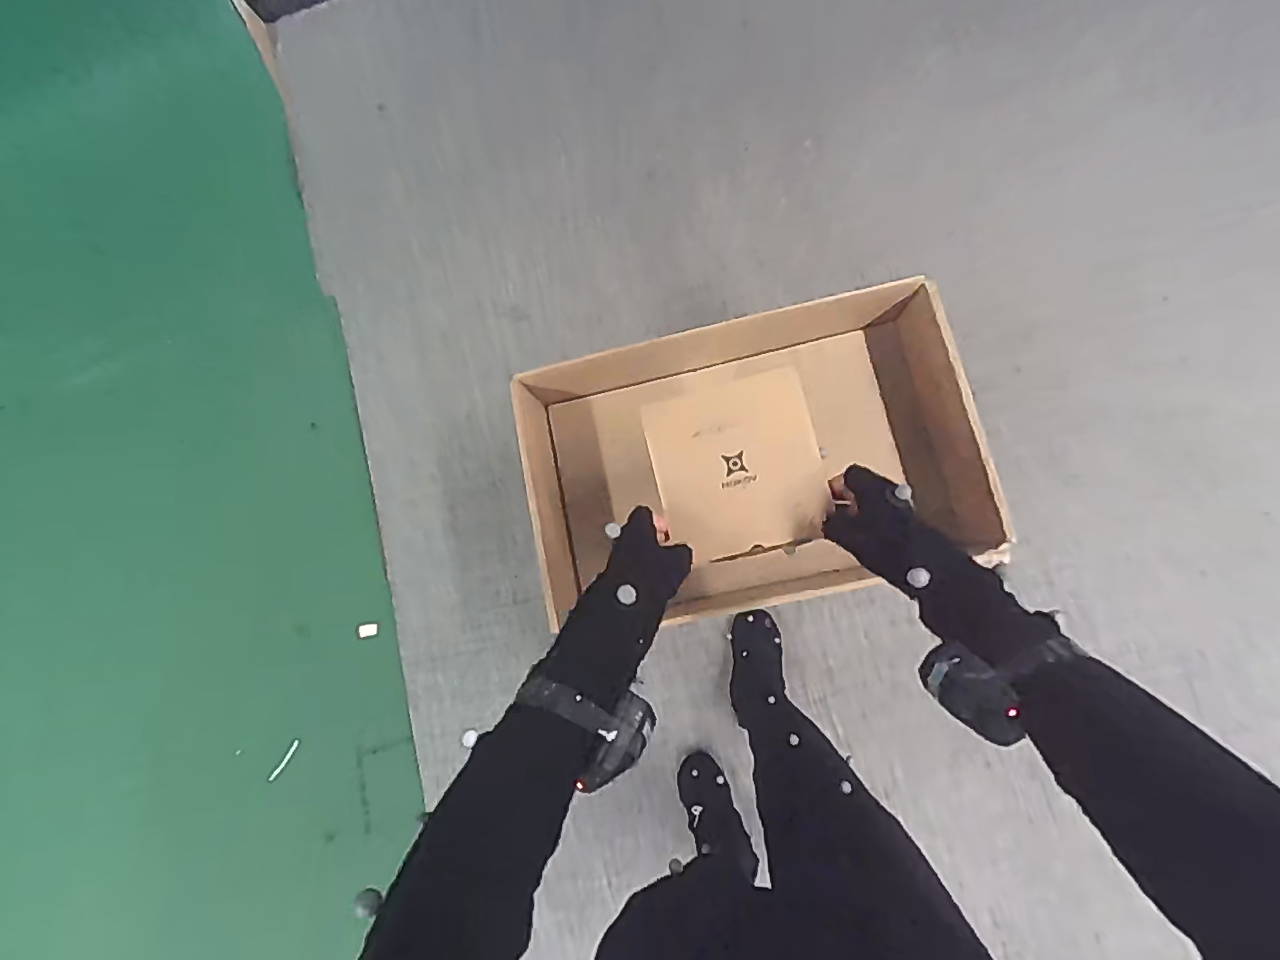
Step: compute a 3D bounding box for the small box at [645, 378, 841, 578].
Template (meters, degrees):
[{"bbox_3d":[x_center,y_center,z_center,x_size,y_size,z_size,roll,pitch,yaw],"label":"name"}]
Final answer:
[{"bbox_3d":[0.116,0.005,0.631,0.168,0.176,0.179,-16,82,8],"label":"small box"}]
